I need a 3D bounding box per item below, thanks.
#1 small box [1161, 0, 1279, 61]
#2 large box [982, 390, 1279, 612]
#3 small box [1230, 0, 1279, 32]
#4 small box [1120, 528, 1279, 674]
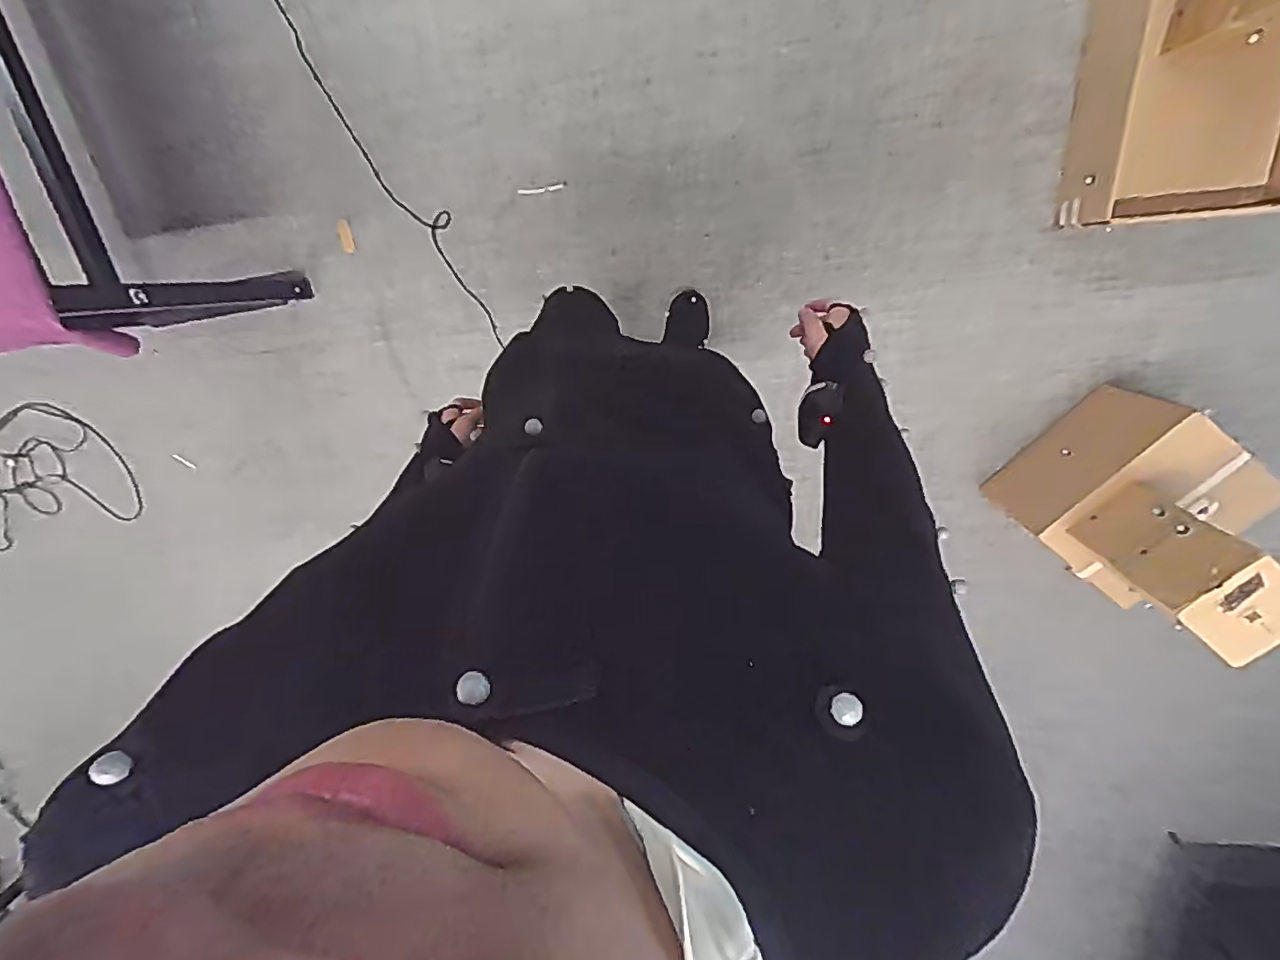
[{"bbox_3d":[1.173,-0.924,1.028,0.179,0.176,0.168,2,114,8],"label":"small box"},{"bbox_3d":[1.194,0.041,1.368,0.320,0.320,0.408,37,110,-7],"label":"large box"},{"bbox_3d":[1.157,-0.860,0.879,0.179,0.176,0.168,6,114,6],"label":"small box"},{"bbox_3d":[1.070,0.212,1.007,0.179,0.176,0.168,38,110,-8],"label":"small box"}]
